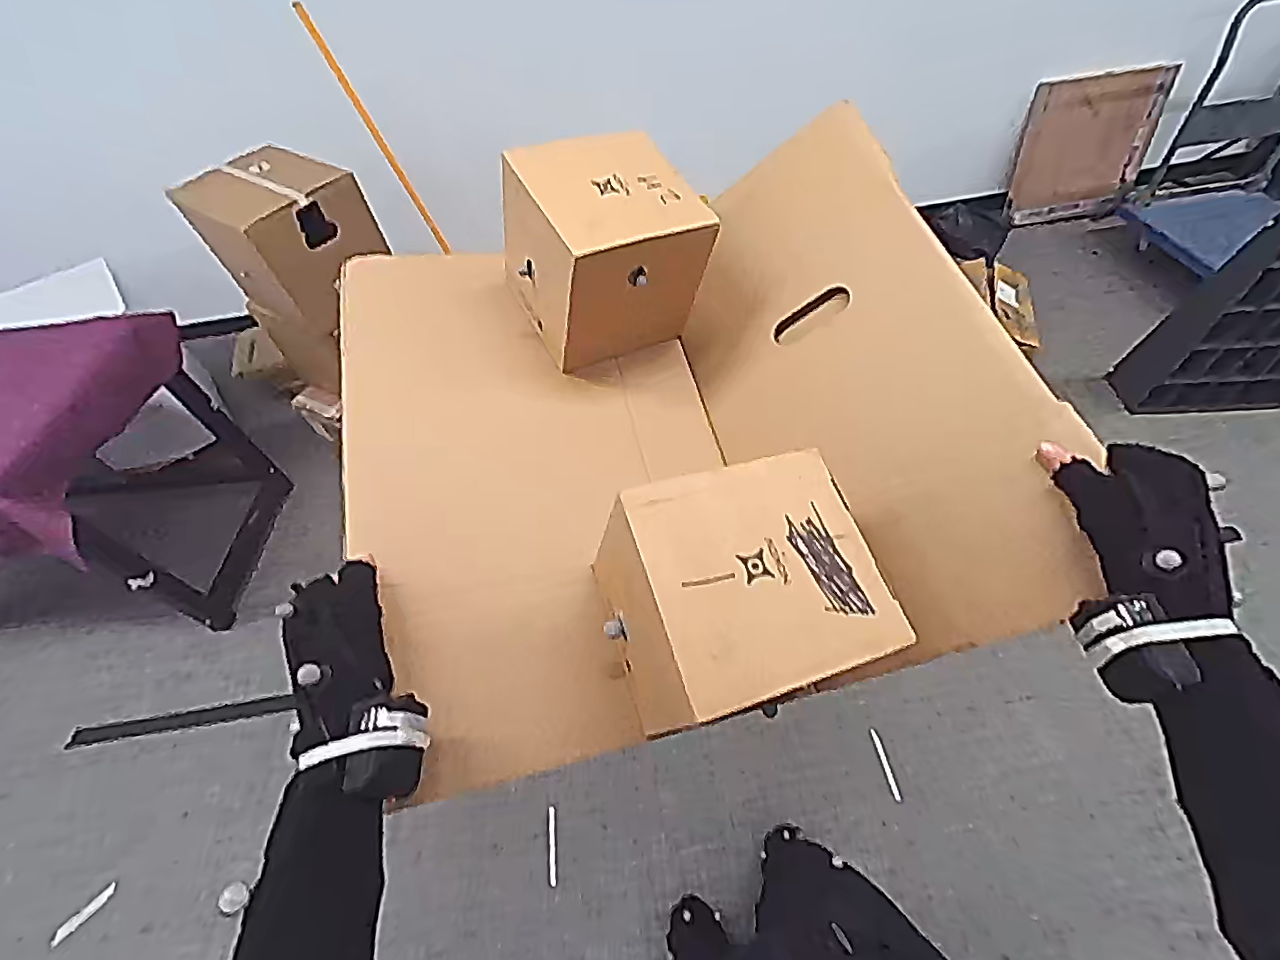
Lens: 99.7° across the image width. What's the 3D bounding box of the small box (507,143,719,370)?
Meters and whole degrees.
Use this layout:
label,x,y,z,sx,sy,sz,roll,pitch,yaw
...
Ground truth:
label,x,y,z,sx,sy,sz,roll,pitch,yaw
small box,-0.041,-0.254,0.632,0.179,0.176,0.168,-22,69,-23
